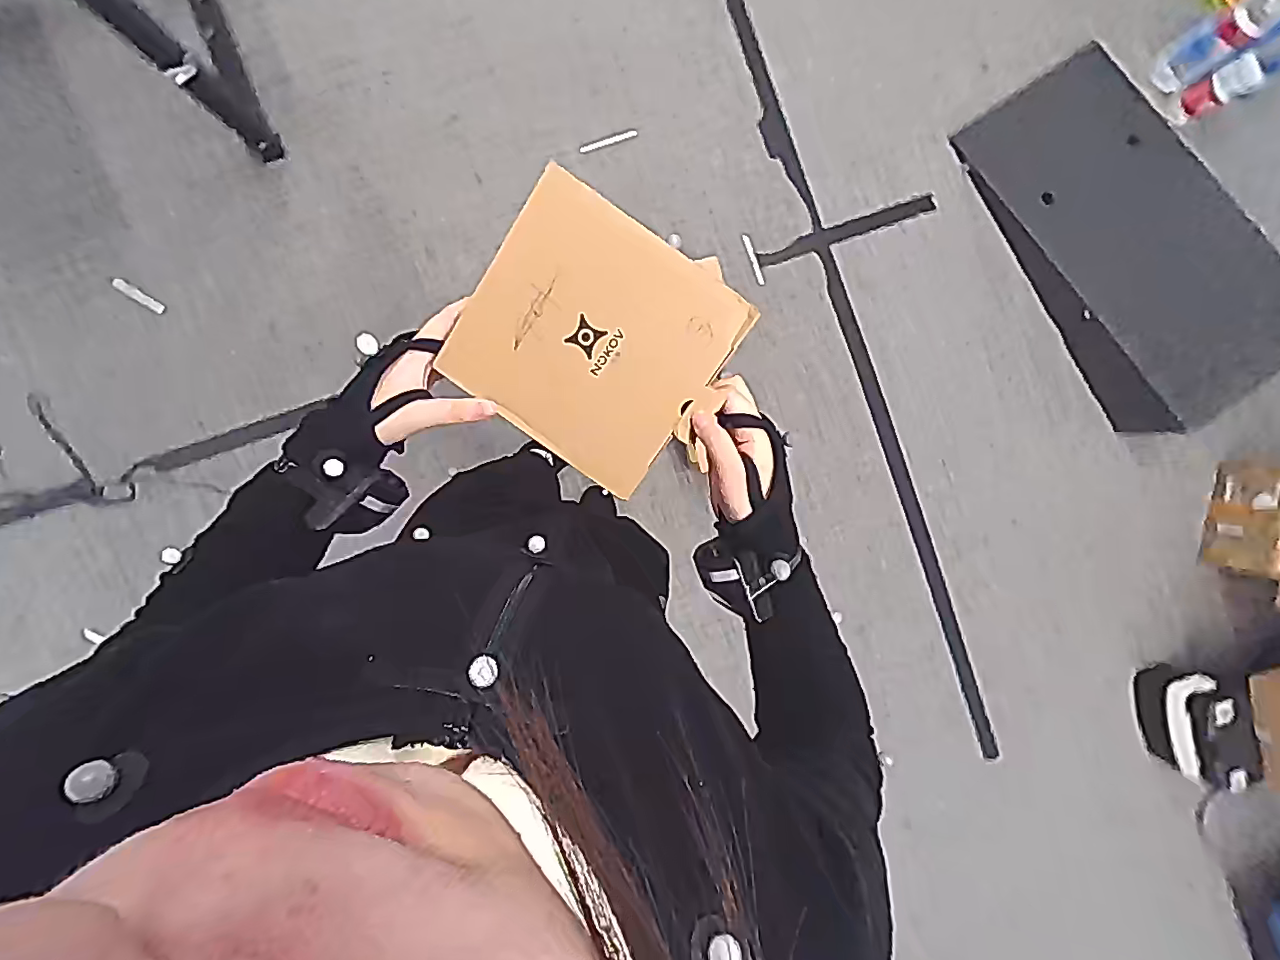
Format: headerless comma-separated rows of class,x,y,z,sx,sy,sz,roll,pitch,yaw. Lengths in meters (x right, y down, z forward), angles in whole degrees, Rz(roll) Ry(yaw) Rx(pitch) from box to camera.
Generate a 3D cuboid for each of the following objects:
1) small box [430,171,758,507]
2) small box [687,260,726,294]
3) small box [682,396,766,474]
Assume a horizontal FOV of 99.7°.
small box,-0.028,-0.107,0.451,0.179,0.176,0.168,35,101,-1
small box,0.125,-0.436,1.381,0.168,0.176,0.179,-14,96,-3
small box,0.207,-0.115,1.410,0.179,0.176,0.168,-14,95,-4
